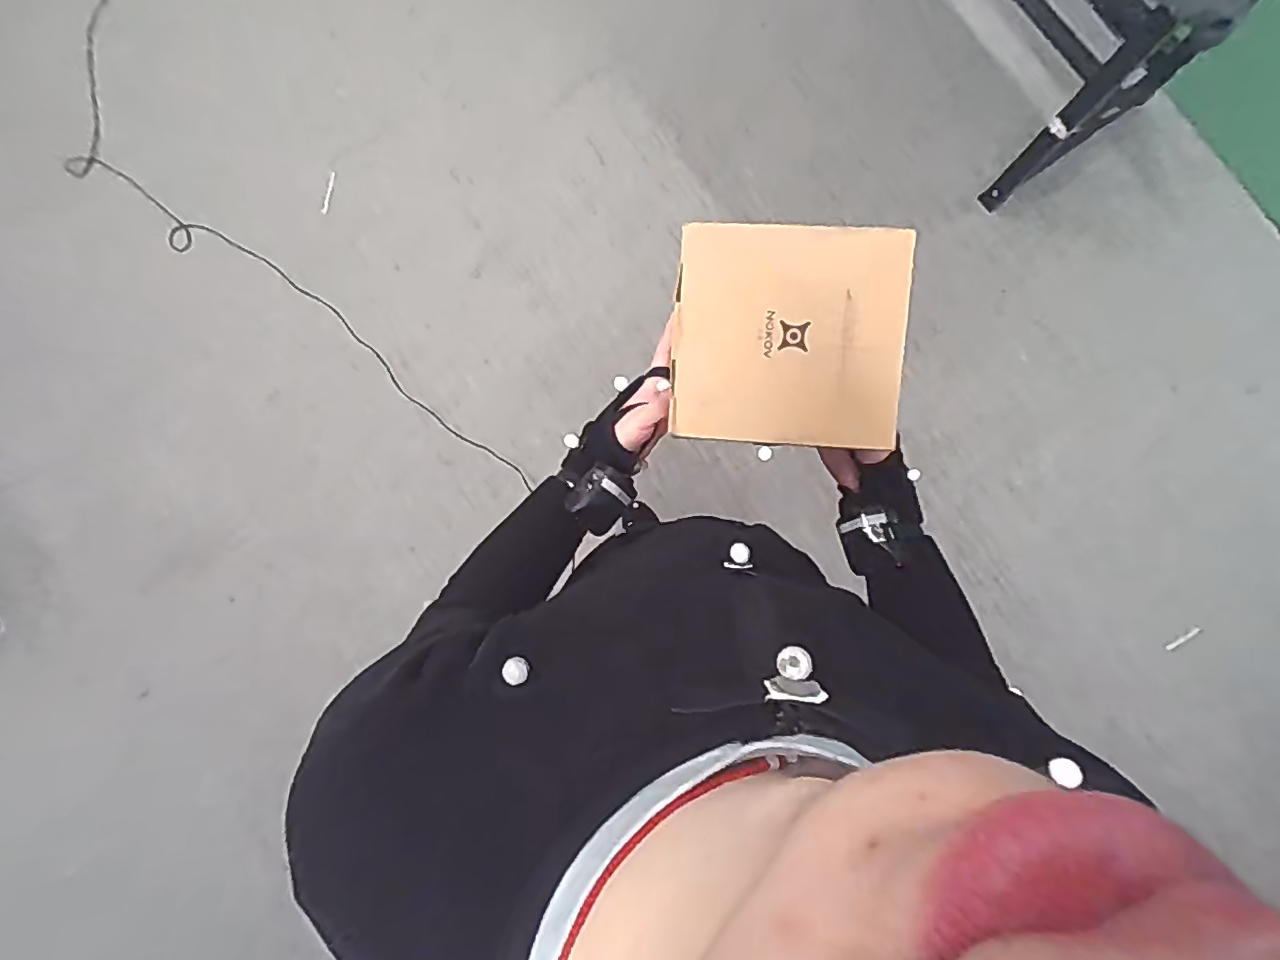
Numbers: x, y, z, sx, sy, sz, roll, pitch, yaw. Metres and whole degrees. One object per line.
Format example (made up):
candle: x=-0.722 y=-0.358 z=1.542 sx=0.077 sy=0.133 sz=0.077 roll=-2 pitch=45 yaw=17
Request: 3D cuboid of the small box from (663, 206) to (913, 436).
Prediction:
small box: x=0.114 y=-0.126 z=0.485 sx=0.179 sy=0.176 sz=0.168 roll=3 pitch=96 yaw=3
